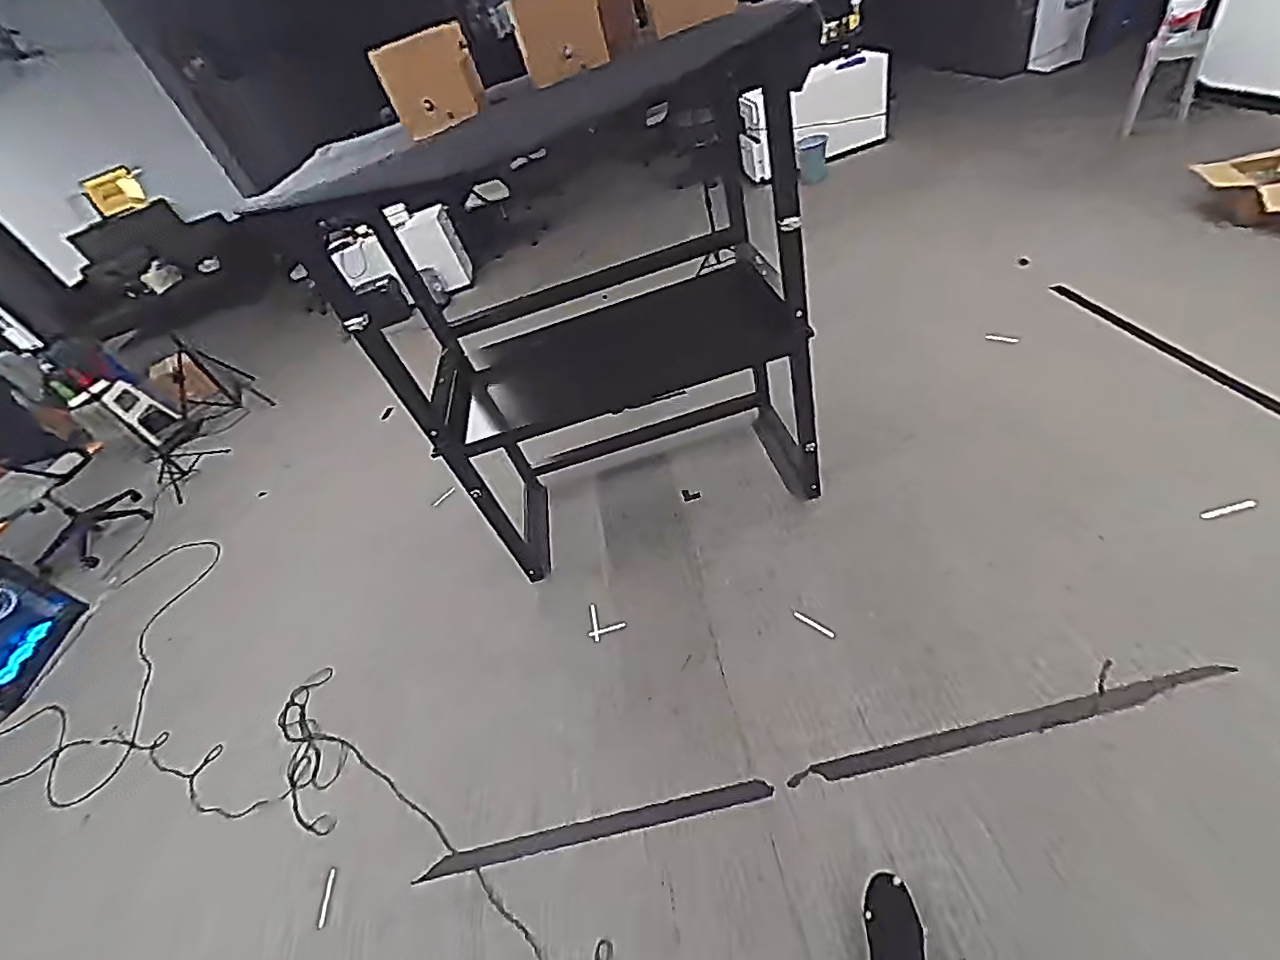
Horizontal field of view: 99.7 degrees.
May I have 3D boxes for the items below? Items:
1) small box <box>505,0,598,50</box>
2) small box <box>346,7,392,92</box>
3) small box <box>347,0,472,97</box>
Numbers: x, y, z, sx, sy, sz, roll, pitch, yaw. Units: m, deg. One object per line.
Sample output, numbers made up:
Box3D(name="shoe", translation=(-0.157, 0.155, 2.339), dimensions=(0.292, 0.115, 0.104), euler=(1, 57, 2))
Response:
Box3D(name="small box", translation=(-0.200, -1.026, 1.127), dimensions=(0.168, 0.176, 0.179), euler=(-21, 43, 0))
Box3D(name="small box", translation=(-0.580, -1.080, 1.324), dimensions=(0.168, 0.176, 0.179), euler=(-20, 43, 1))
Box3D(name="small box", translation=(-0.473, -0.937, 1.143), dimensions=(0.168, 0.176, 0.179), euler=(-15, 43, 6))
